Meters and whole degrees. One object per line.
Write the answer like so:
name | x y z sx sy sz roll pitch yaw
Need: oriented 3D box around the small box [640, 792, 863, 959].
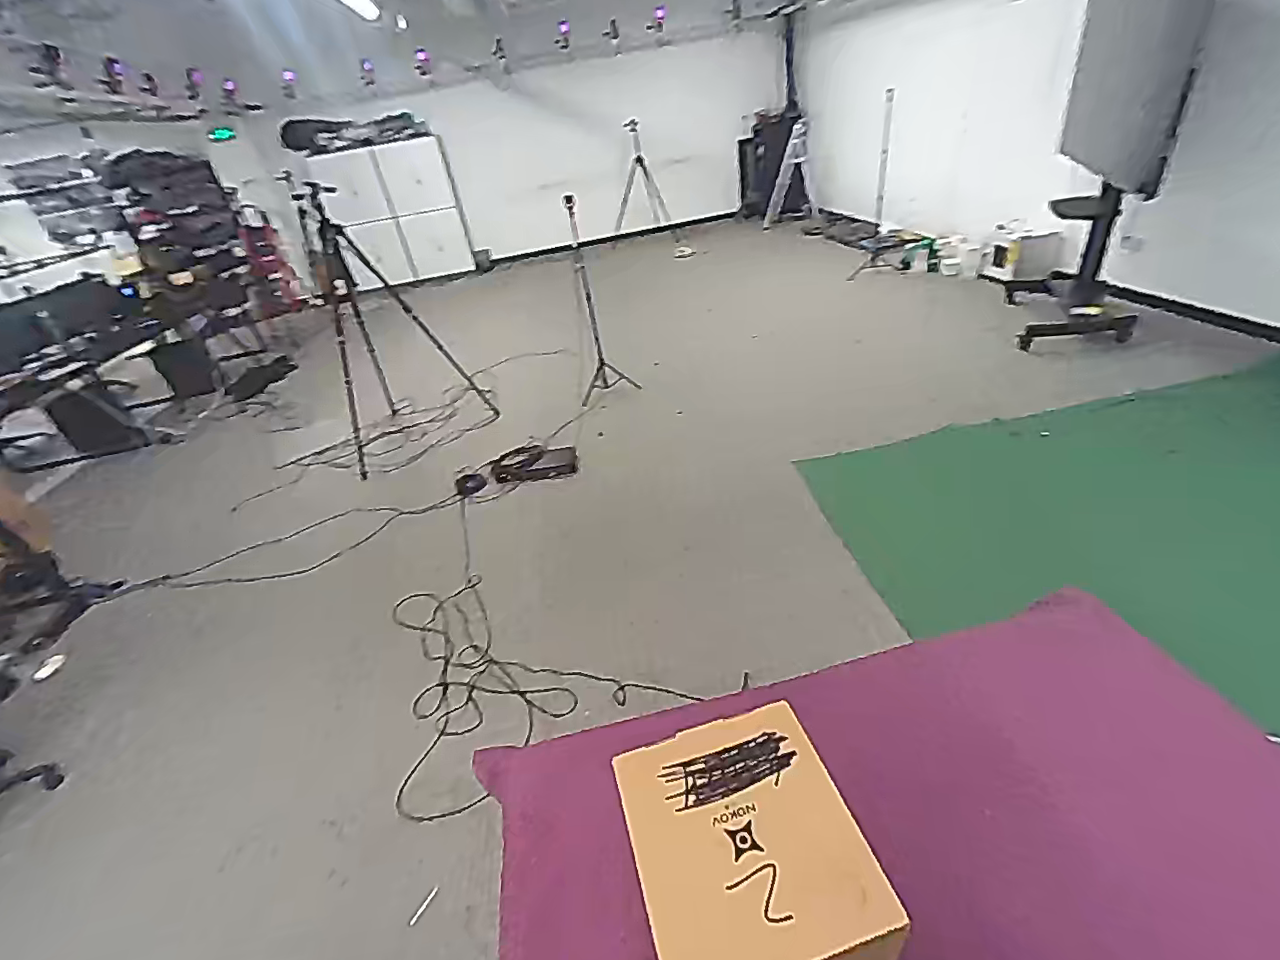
small box | 0.108 0.458 0.536 0.168 0.176 0.179 -14 34 -8
